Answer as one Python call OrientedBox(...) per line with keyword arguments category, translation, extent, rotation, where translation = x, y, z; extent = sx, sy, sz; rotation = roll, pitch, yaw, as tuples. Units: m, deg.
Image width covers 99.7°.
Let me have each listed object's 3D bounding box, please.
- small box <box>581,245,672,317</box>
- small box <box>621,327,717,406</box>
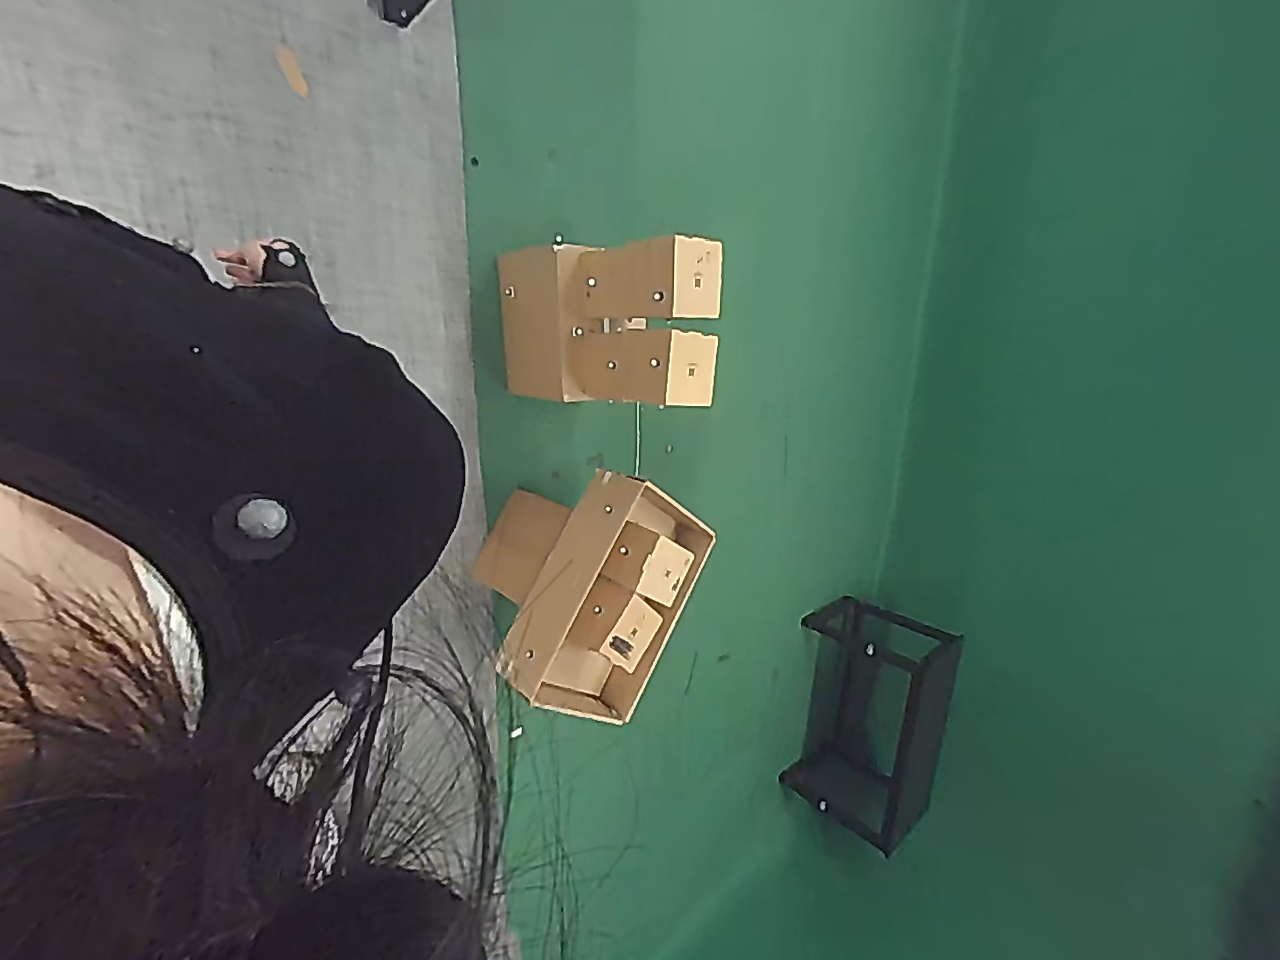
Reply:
OrientedBox(category="small box", translation=(-0.034, -0.517, 1.417), extent=(0.179, 0.176, 0.168), rotation=(-17, 113, -39))
OrientedBox(category="small box", translation=(0.068, -0.283, 1.355), extent=(0.168, 0.176, 0.179), rotation=(-5, 104, -41))
